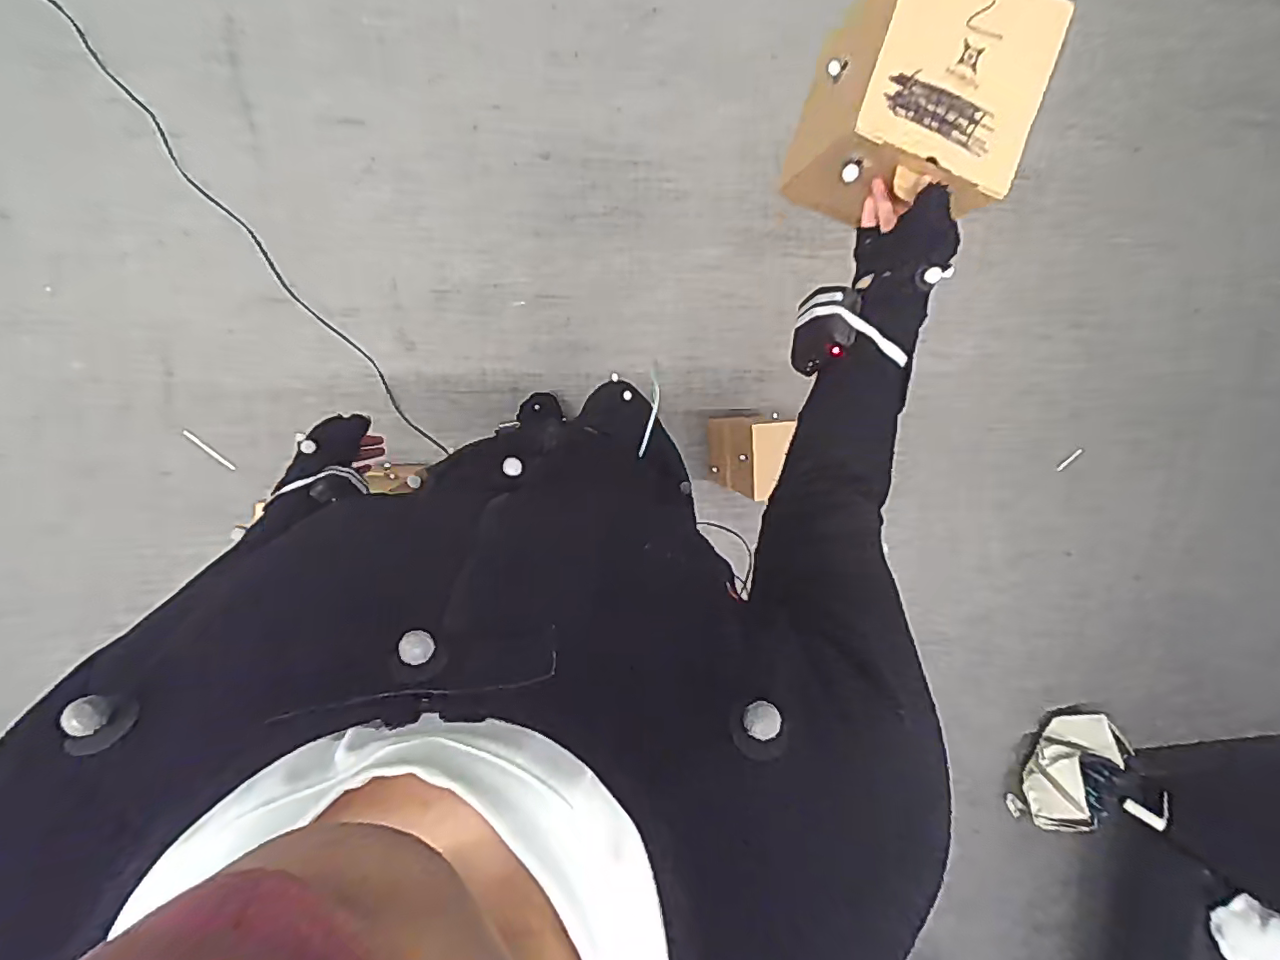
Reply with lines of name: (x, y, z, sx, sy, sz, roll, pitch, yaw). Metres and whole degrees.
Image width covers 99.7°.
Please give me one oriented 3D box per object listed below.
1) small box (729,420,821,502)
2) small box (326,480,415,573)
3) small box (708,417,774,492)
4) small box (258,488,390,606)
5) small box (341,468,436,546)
small box: (0.315, -0.051, 1.287, 0.168, 0.176, 0.179, -4, 100, -7)
small box: (-0.600, 0.095, 1.182, 0.168, 0.176, 0.179, 0, 100, -8)
small box: (0.282, -0.074, 1.446, 0.168, 0.176, 0.179, -4, 100, -8)
small box: (-0.587, 0.120, 1.022, 0.168, 0.176, 0.179, 5, 98, -8)
small box: (-0.617, 0.064, 1.346, 0.168, 0.176, 0.179, -3, 98, -4)
